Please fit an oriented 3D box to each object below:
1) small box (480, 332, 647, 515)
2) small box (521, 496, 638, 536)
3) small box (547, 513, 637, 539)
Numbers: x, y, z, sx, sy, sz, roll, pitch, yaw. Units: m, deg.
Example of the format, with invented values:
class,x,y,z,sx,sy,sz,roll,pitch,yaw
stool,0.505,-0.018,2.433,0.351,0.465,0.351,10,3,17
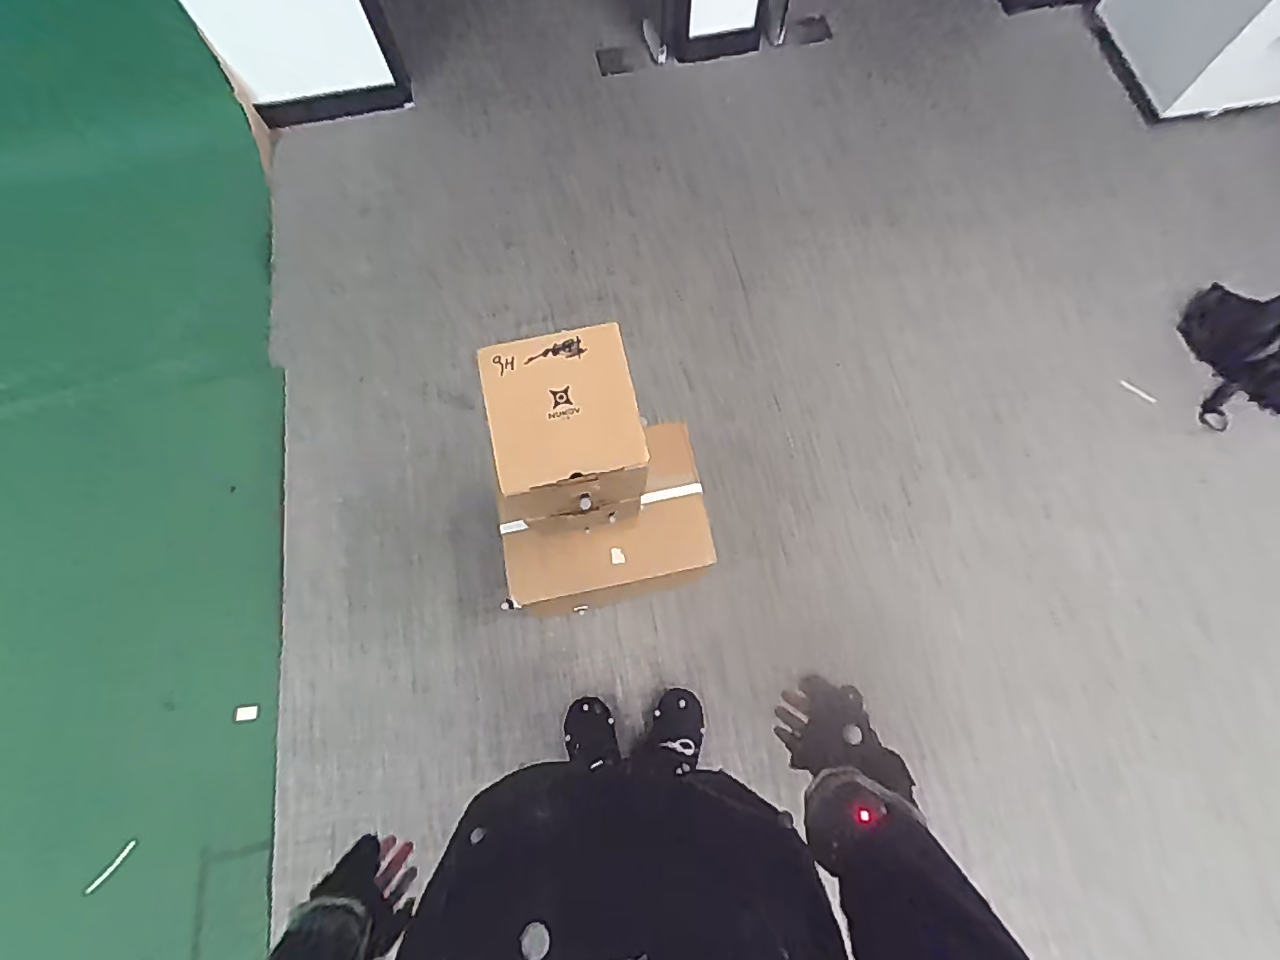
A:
class,x,y,z,sx,sy,sz,roll,pitch,yaw
small box,-0.088,-0.058,0.683,0.168,0.176,0.179,-12,78,-4
small box,-0.099,-0.015,0.841,0.168,0.176,0.179,-13,76,-5
small box,-0.100,0.012,0.998,0.179,0.176,0.168,-5,76,-1
